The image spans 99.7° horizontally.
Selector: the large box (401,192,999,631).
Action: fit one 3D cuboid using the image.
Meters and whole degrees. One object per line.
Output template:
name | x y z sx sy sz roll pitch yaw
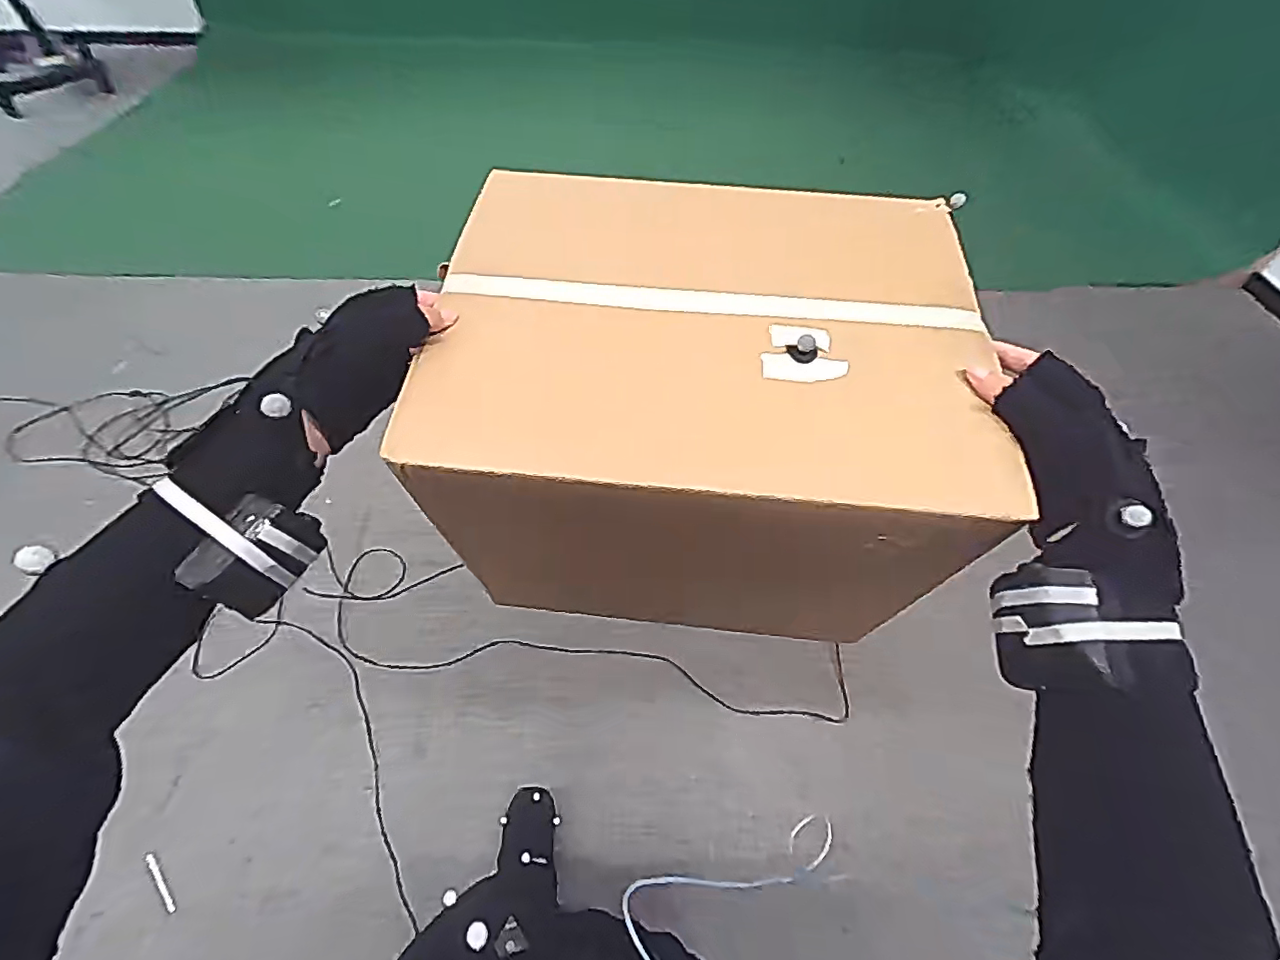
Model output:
large box | 0.044 -0.050 0.555 0.408 0.320 0.320 5 60 2
